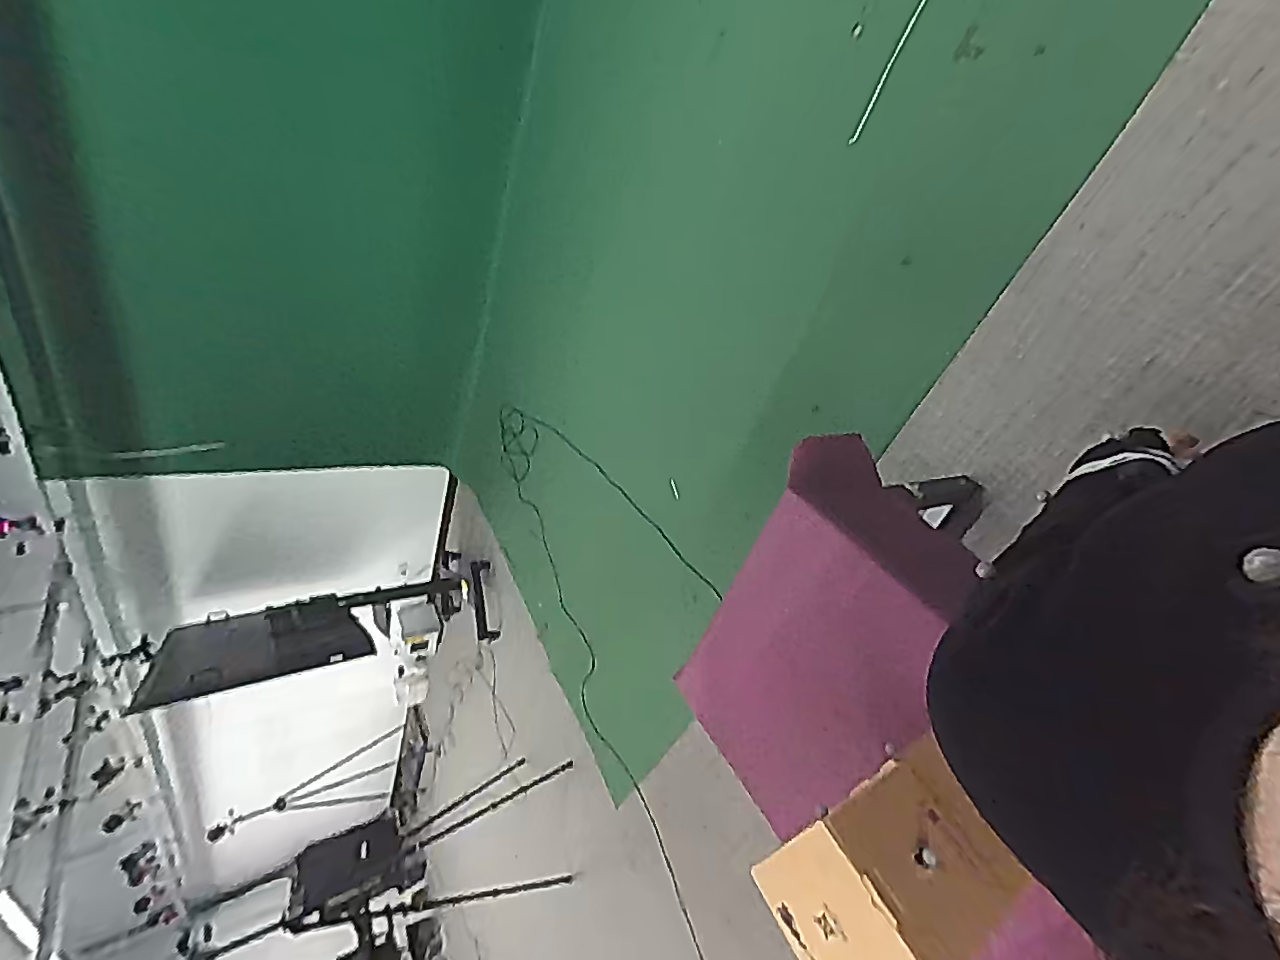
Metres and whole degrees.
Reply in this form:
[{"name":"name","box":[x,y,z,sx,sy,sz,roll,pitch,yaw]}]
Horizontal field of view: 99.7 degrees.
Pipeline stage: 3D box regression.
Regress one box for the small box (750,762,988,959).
[{"name":"small box","box":[0.273,0.473,0.644,0.168,0.176,0.179,55,133,34]}]
